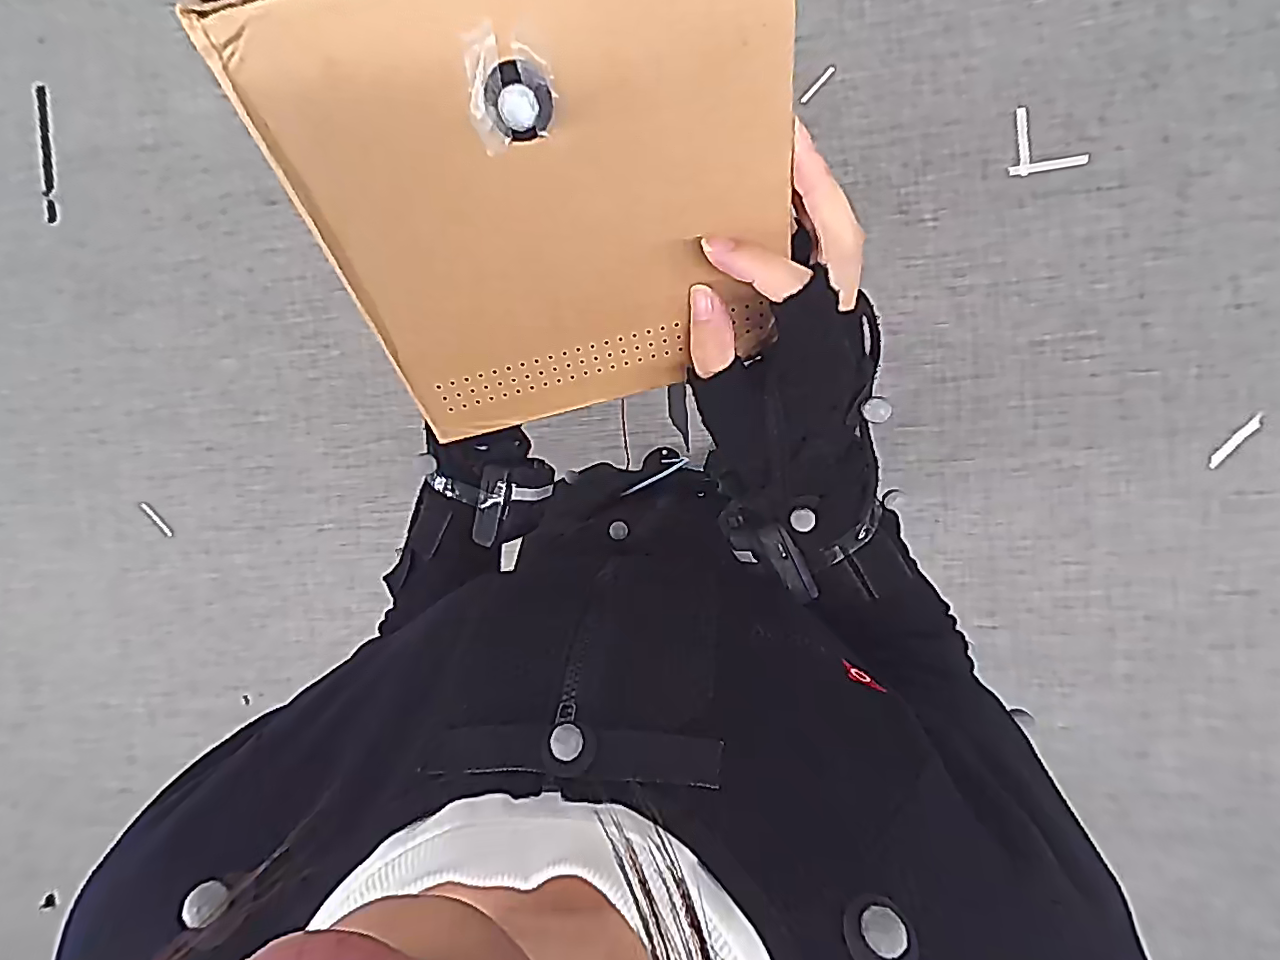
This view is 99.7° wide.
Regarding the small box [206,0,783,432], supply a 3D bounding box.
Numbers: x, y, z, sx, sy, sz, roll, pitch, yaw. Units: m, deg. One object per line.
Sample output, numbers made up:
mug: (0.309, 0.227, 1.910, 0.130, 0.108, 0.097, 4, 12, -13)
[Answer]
small box: (-0.038, -0.145, 0.263, 0.179, 0.168, 0.176, -14, 136, 1)
